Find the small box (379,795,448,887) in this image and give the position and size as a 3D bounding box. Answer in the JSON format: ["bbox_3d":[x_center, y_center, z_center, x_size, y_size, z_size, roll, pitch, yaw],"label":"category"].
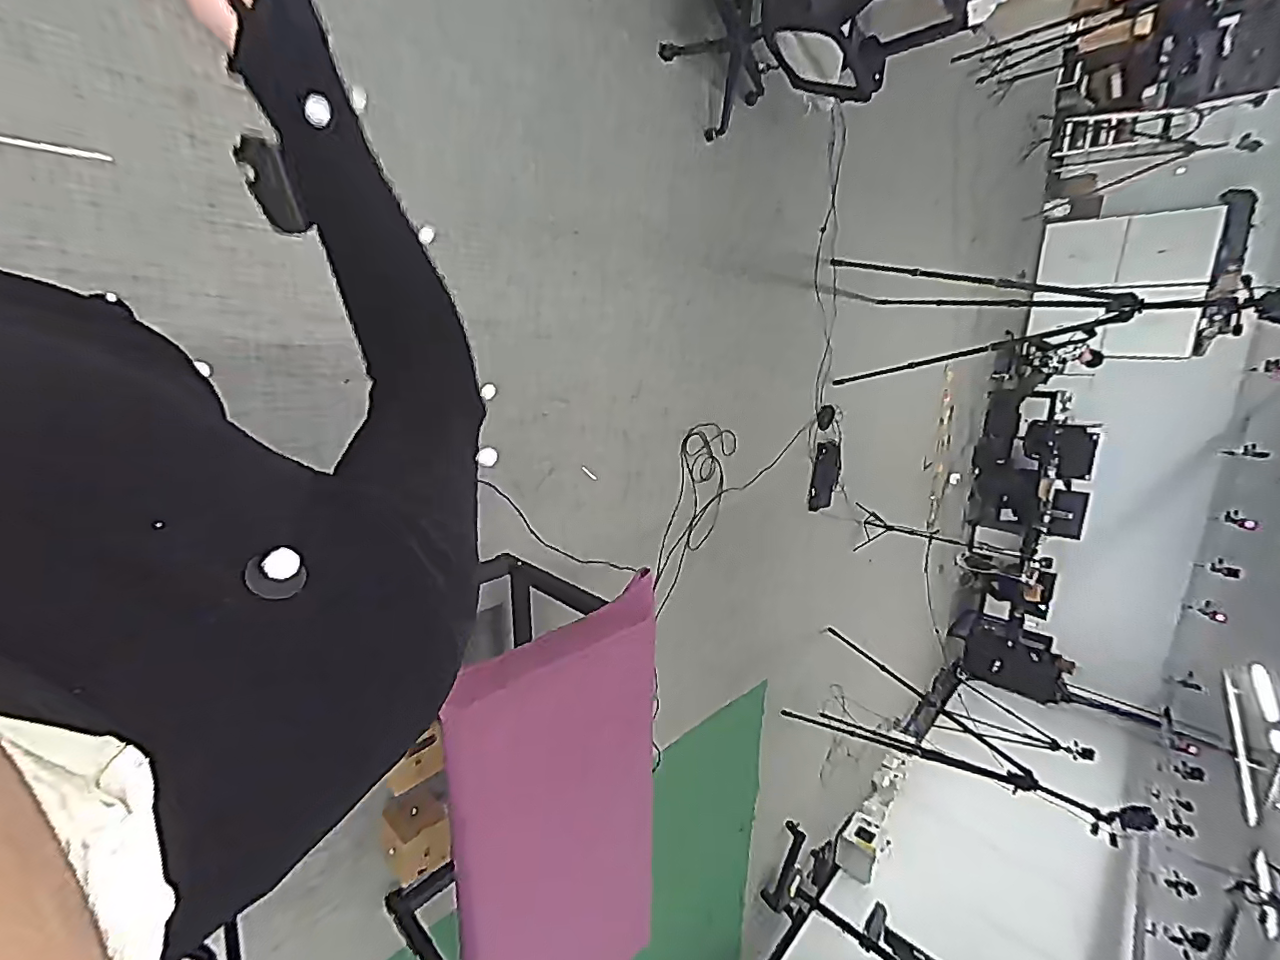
[{"bbox_3d":[-0.774,1.214,1.840,0.168,0.176,0.179,-9,106,-45],"label":"small box"}]
